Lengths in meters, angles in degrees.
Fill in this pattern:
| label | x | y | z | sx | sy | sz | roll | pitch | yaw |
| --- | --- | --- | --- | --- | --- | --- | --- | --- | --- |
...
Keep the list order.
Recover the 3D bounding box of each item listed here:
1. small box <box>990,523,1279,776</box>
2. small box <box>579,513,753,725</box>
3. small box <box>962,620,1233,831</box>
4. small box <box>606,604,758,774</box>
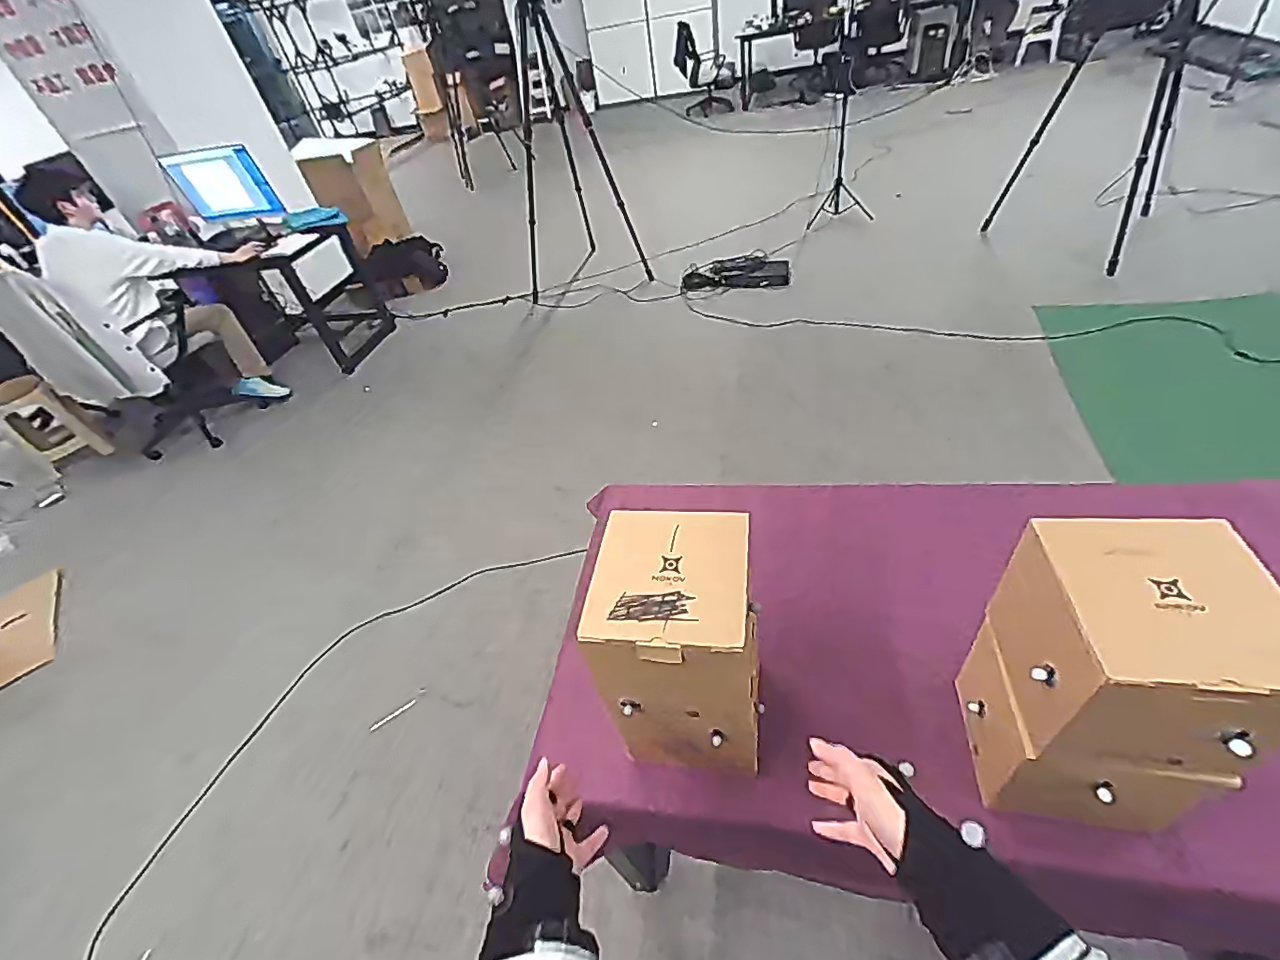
| label | x | y | z | sx | sy | sz | roll | pitch | yaw |
| --- | --- | --- | --- | --- | --- | --- | --- | --- | --- |
| small box | 0.471 | 0.162 | 0.522 | 0.168 | 0.176 | 0.179 | 0 | 43 | 13 |
| small box | 0.044 | 0.159 | 0.627 | 0.168 | 0.176 | 0.179 | 1 | 42 | 13 |
| small box | 0.496 | 0.283 | 0.628 | 0.179 | 0.176 | 0.168 | 1 | 45 | 15 |
| small box | 0.069 | 0.279 | 0.737 | 0.179 | 0.176 | 0.168 | 1 | 44 | 13 |
